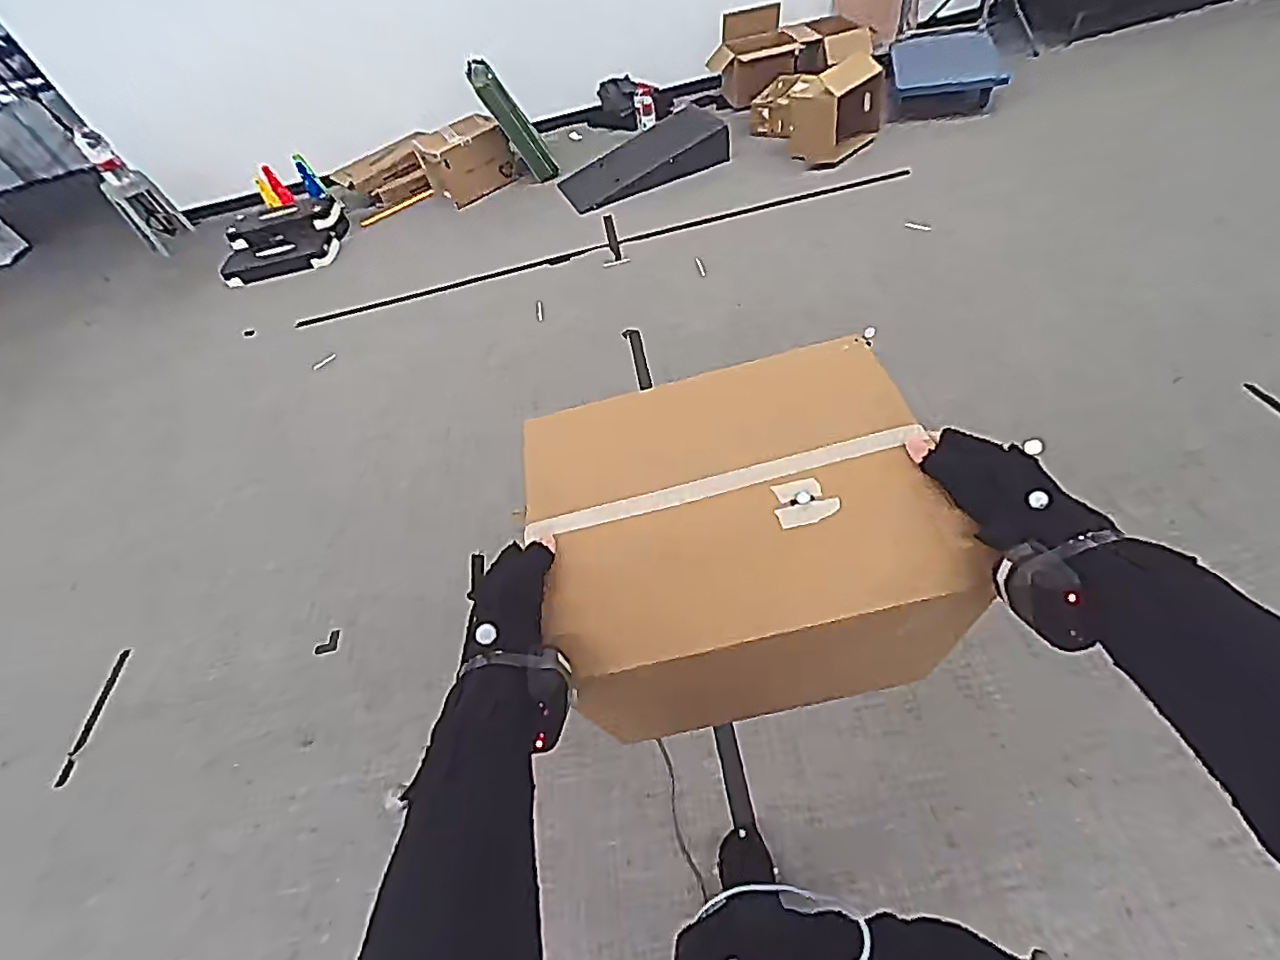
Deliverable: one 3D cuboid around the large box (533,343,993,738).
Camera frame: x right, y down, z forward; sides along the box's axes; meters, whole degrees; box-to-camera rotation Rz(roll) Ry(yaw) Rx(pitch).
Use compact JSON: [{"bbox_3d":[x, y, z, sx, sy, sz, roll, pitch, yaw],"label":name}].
[{"bbox_3d":[0.113,0.091,0.676,0.408,0.320,0.320,-14,54,3],"label":"large box"}]
